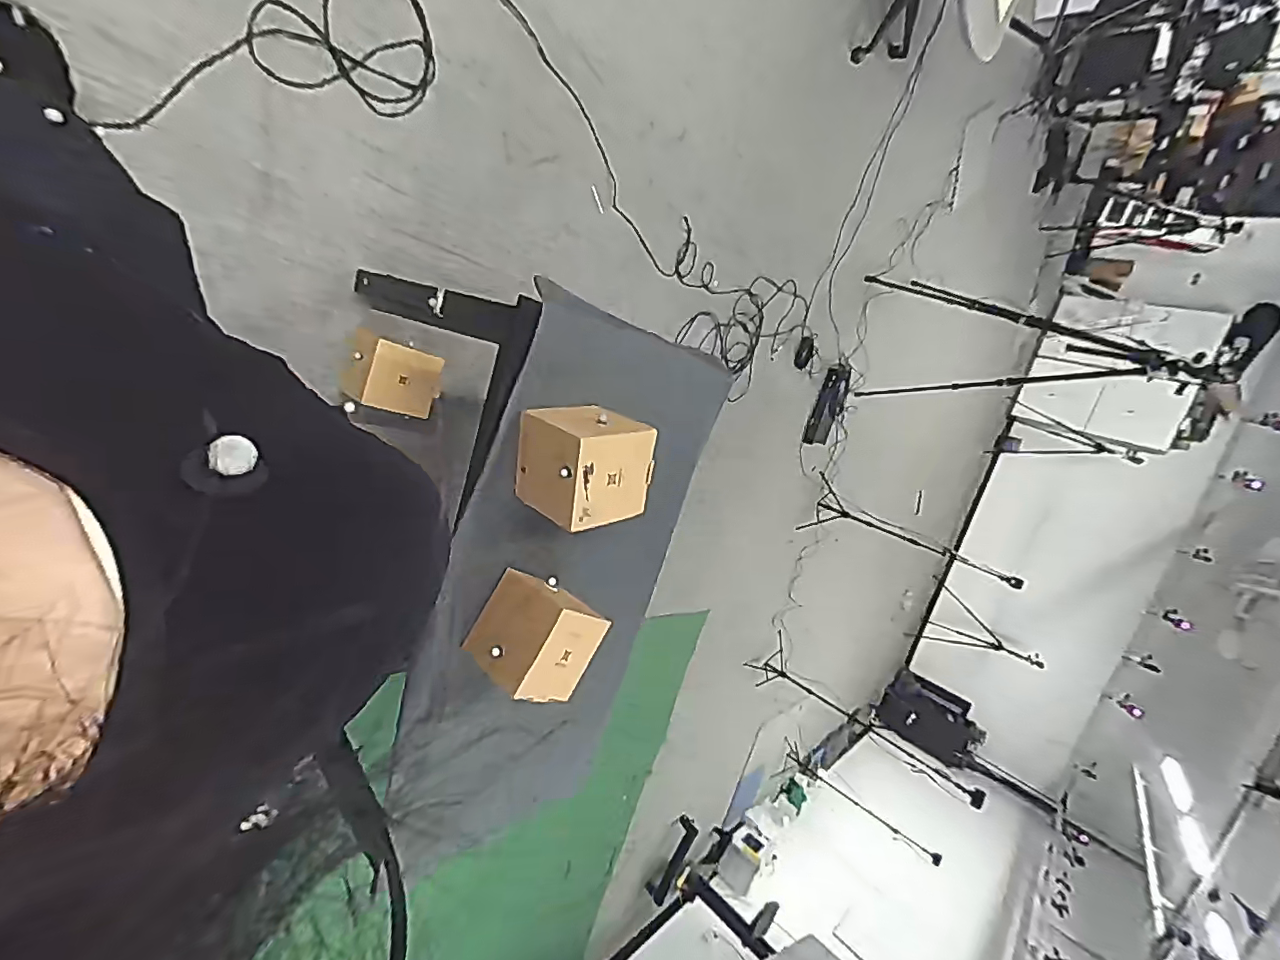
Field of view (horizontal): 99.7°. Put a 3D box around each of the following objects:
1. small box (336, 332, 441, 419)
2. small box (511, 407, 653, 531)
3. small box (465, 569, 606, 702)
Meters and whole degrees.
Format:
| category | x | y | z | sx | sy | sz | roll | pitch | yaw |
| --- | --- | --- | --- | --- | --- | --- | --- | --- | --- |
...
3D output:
| category | x | y | z | sx | sy | sz | roll | pitch | yaw |
| --- | --- | --- | --- | --- | --- | --- | --- | --- | --- |
| small box | -0.653 | -0.272 | 1.393 | 0.179 | 0.176 | 0.168 | 11 | 100 | -51 |
| small box | -0.106 | -0.030 | 0.969 | 0.179 | 0.176 | 0.168 | -12 | 119 | -45 |
| small box | -0.204 | 0.297 | 1.035 | 0.179 | 0.176 | 0.168 | -62 | 145 | -7 |
